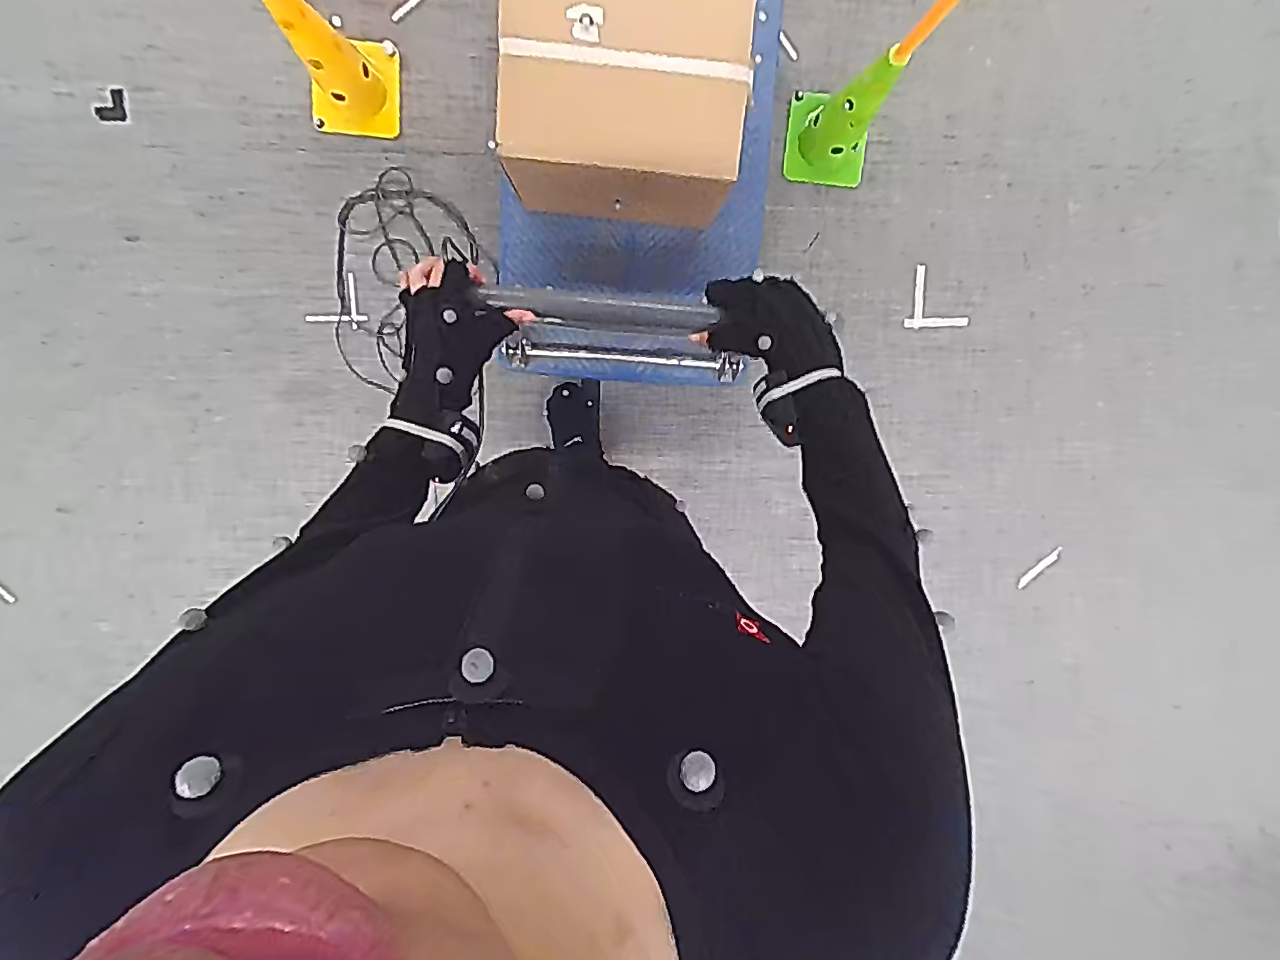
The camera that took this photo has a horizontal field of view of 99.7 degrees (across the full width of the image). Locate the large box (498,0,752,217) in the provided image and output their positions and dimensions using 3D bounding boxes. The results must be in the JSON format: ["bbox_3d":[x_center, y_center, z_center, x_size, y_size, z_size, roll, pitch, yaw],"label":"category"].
[{"bbox_3d":[-0.028,-0.708,1.014,0.408,0.320,0.320,4,101,-3],"label":"large box"}]

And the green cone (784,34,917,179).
[{"bbox_3d":[0.472,-0.823,1.163,0.202,0.368,0.200,4,101,-5],"label":"green cone"}]
